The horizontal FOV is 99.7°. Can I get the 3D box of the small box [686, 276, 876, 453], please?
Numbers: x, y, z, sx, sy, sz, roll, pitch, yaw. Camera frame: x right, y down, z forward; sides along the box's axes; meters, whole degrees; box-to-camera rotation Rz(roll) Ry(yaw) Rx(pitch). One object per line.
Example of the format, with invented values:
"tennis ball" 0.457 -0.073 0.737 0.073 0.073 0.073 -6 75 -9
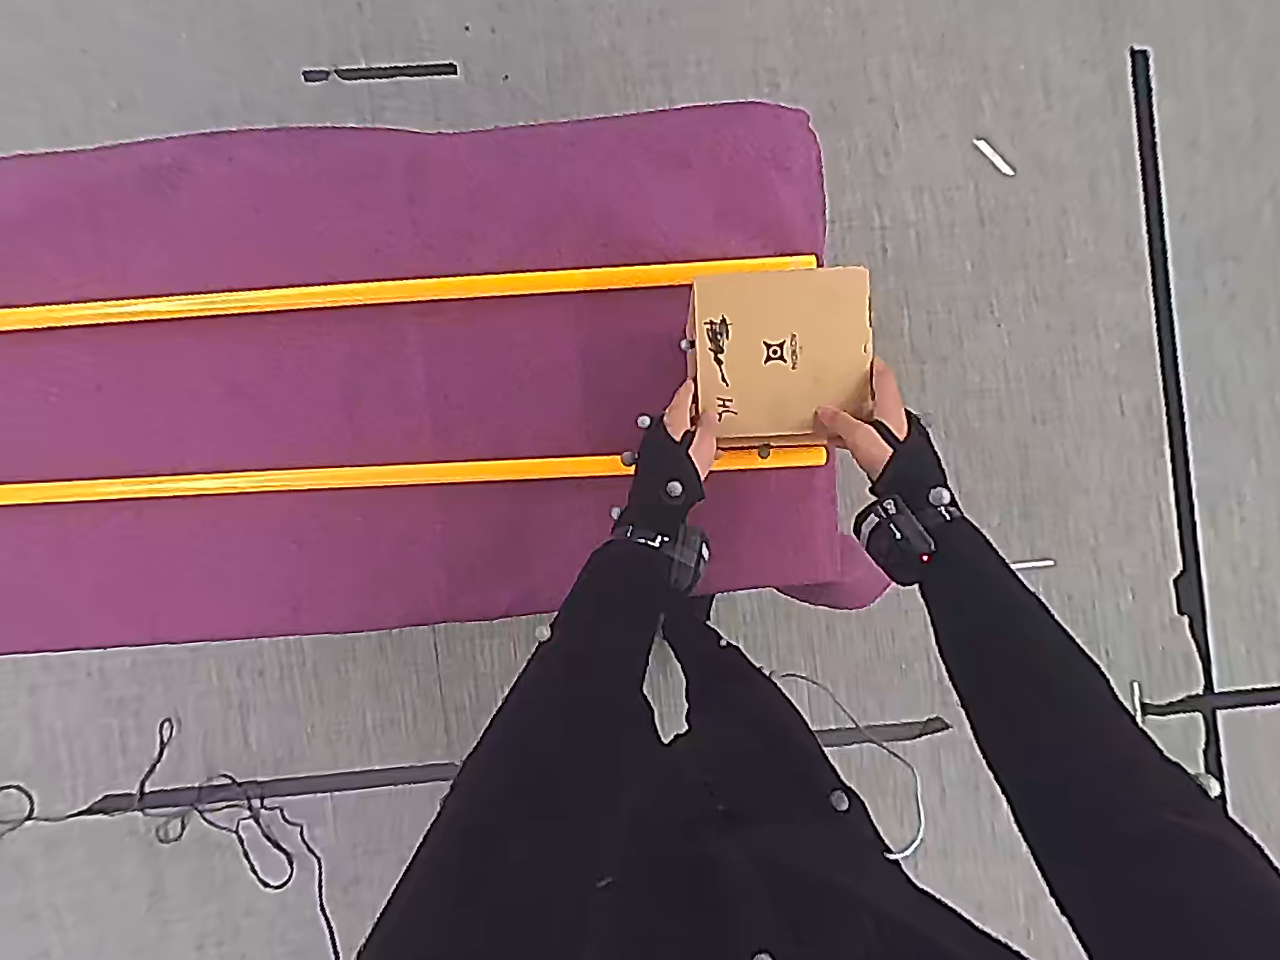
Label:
"small box" 0.145 -0.118 0.611 0.179 0.176 0.168 -2 89 2
